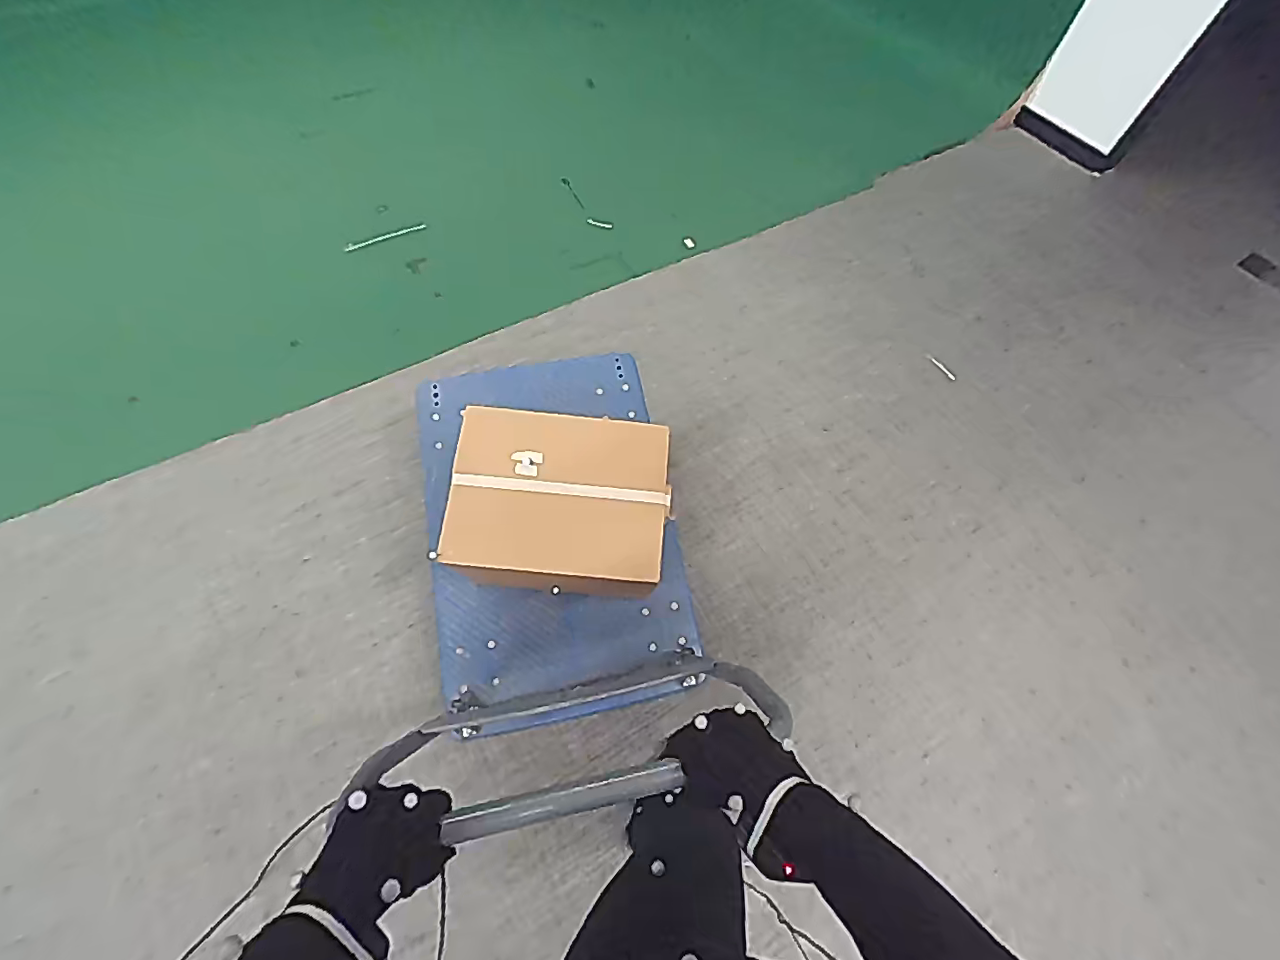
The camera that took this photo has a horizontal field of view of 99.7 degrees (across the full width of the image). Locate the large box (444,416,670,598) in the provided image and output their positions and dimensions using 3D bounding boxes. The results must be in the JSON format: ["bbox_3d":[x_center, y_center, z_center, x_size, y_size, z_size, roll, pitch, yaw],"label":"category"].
[{"bbox_3d":[-0.149,0.077,1.158,0.408,0.320,0.320,5,71,-1],"label":"large box"}]
